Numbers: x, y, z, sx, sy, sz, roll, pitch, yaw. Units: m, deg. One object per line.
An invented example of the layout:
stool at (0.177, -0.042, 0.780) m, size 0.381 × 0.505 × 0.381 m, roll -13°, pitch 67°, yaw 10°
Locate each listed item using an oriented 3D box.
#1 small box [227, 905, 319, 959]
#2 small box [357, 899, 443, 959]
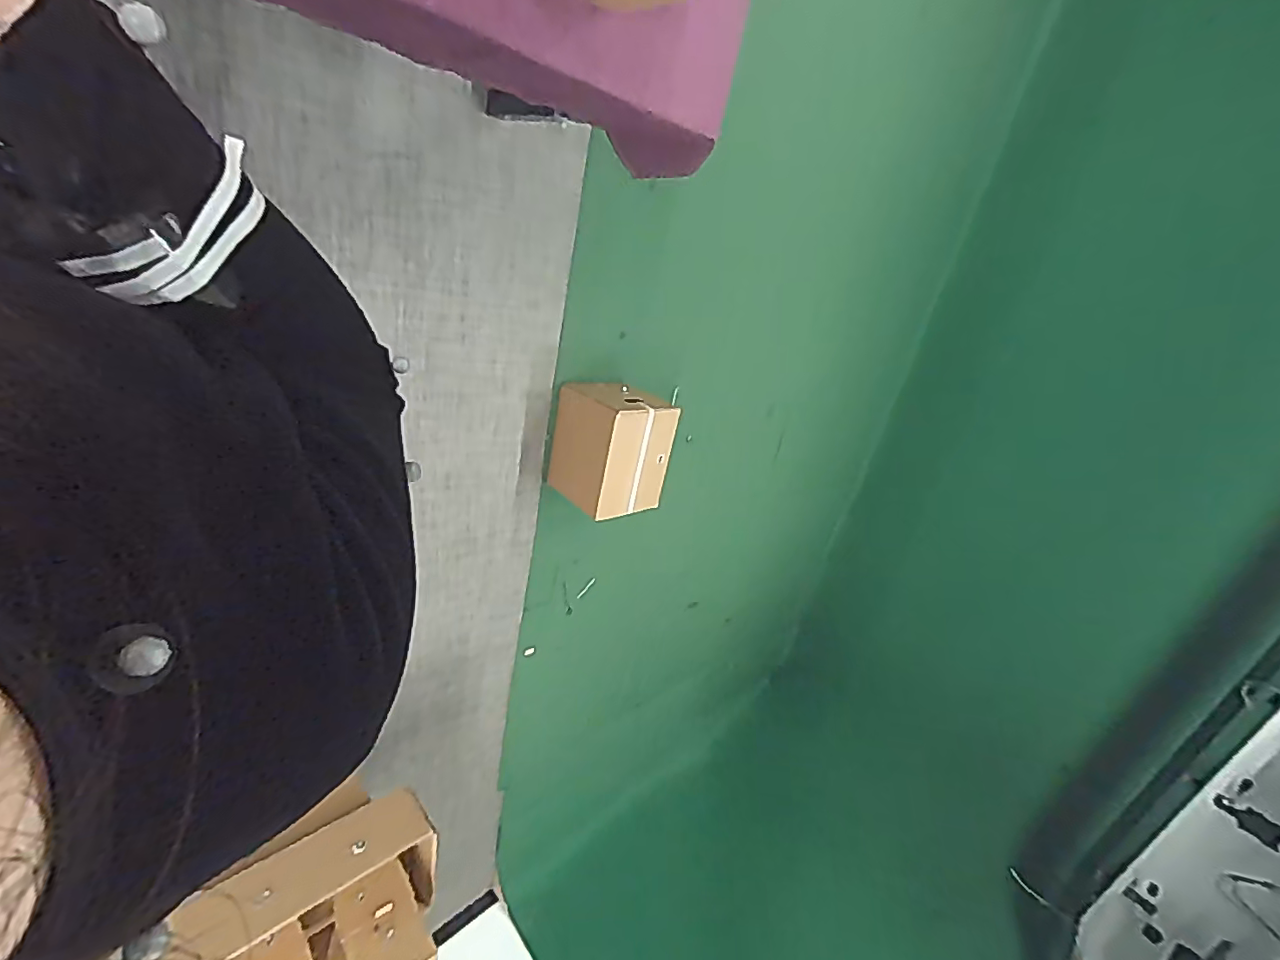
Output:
small box at (-0.935, 1.255, 1.387) m, size 0.168 × 0.176 × 0.179 m, roll -14°, pitch 124°, yaw -43°
small box at (-0.647, 1.289, 1.452) m, size 0.168 × 0.176 × 0.179 m, roll -12°, pitch 124°, yaw -42°
